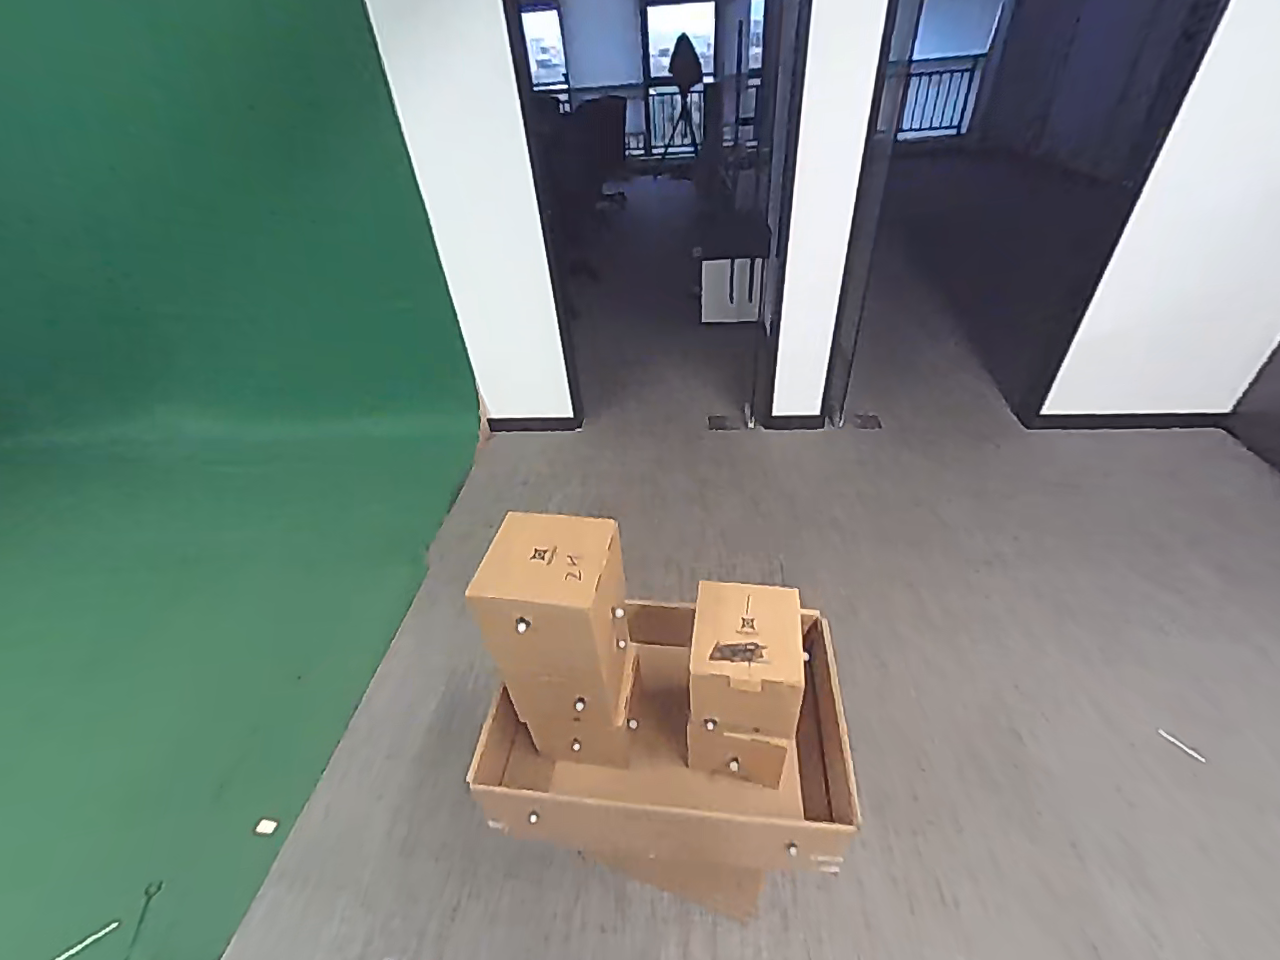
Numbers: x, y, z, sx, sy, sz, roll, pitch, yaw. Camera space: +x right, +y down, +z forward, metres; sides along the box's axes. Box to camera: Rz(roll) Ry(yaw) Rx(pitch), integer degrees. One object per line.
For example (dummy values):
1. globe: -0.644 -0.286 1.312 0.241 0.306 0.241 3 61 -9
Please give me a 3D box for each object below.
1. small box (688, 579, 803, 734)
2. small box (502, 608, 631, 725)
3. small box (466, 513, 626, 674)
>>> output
1. small box: 0.173 0.289 0.886 0.168 0.176 0.179 3 39 11
2. small box: -0.112 0.293 0.920 0.168 0.176 0.179 2 39 9
3. small box: -0.127 0.170 0.811 0.179 0.176 0.168 4 41 11
